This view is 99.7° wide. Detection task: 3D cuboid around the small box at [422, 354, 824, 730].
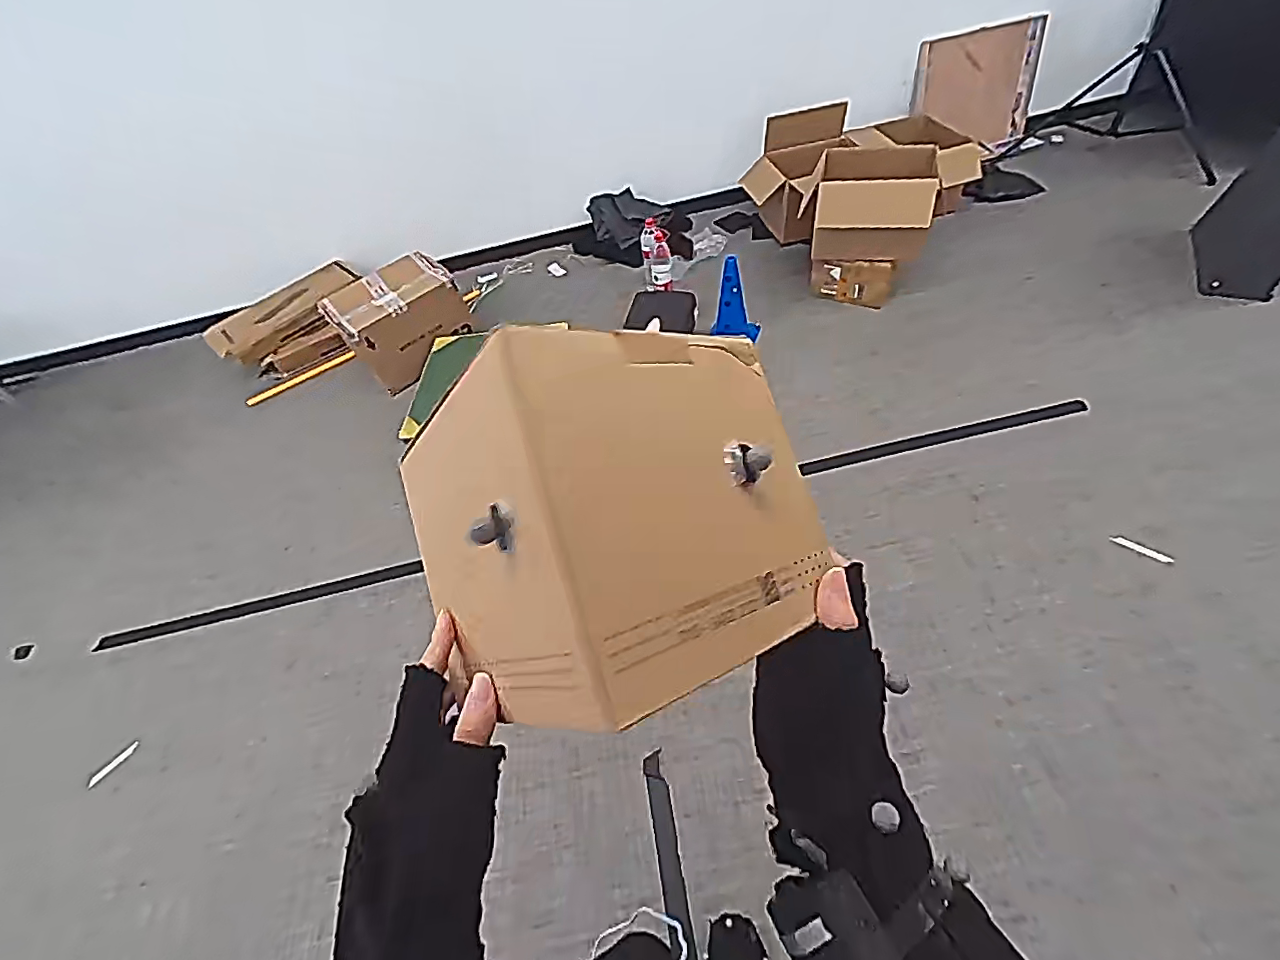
[{"bbox_3d":[-0.018,0.039,0.339,0.168,0.179,0.176,-11,79,-36],"label":"small box"}]
